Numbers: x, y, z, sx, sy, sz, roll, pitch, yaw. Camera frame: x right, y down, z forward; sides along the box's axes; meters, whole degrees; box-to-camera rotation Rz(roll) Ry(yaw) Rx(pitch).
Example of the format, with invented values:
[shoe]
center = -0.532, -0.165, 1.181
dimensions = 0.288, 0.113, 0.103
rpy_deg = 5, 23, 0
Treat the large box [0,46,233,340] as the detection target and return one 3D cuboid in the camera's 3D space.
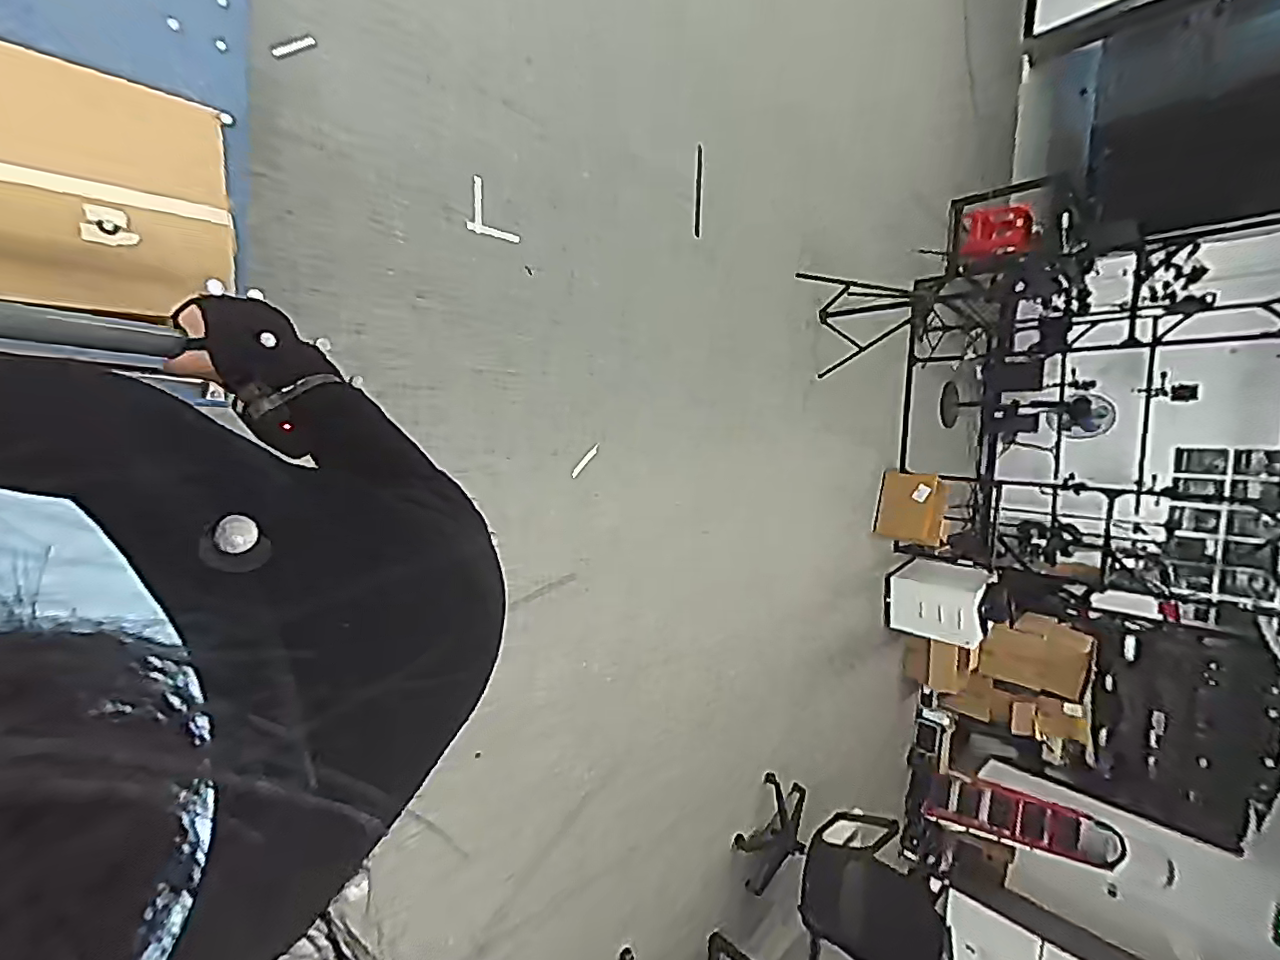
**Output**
[large box]
center = -0.884, -0.393, 0.791
dimensions = 0.408, 0.320, 0.320
rpy_deg = -6, 100, -46
